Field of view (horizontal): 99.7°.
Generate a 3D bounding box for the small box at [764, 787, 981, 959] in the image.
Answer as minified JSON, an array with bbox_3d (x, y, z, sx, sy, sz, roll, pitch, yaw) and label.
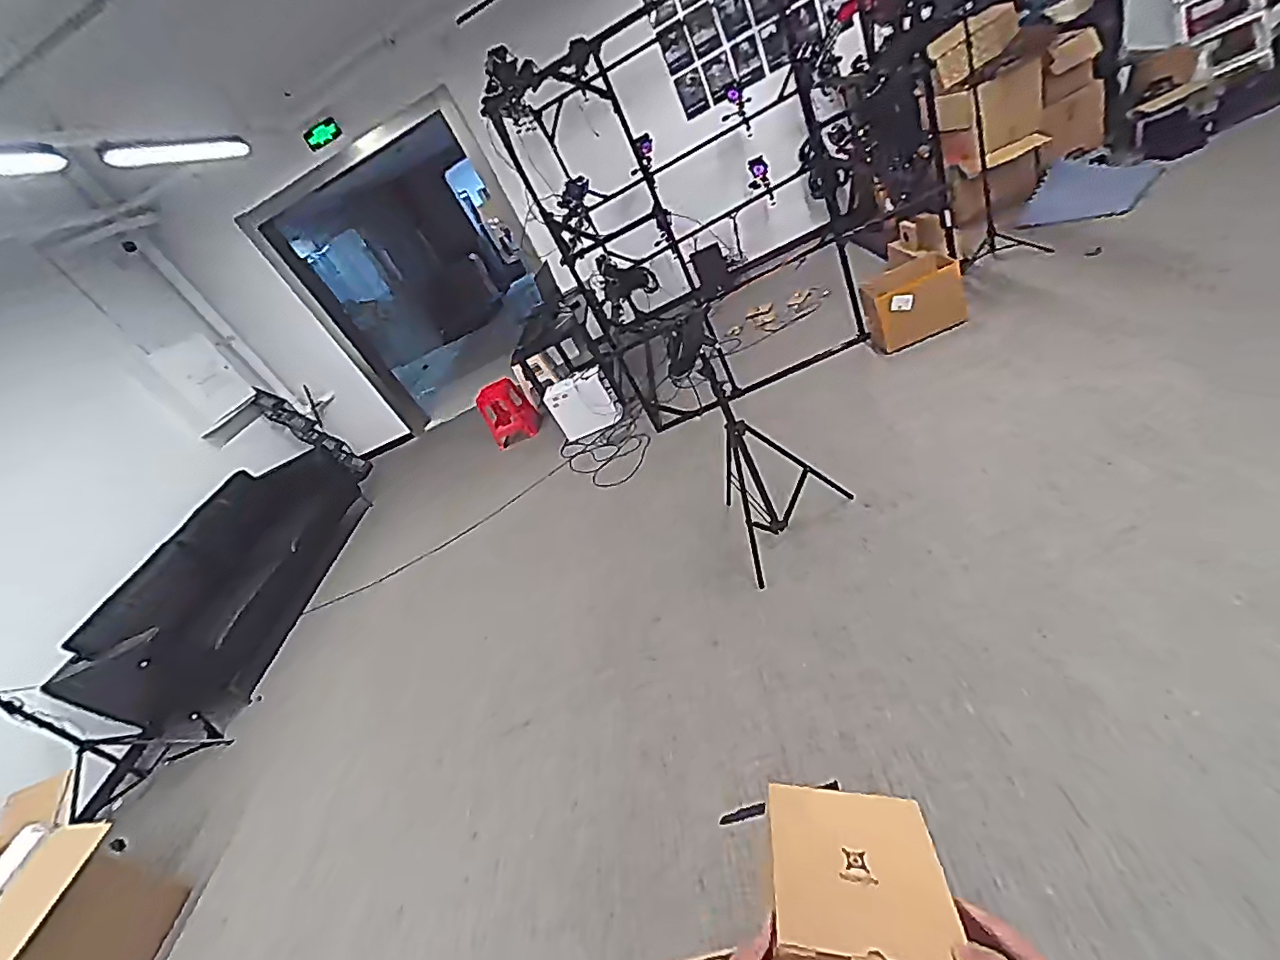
[{"bbox_3d":[0.219,0.459,0.552,0.168,0.176,0.179,2,18,9],"label":"small box"}]
